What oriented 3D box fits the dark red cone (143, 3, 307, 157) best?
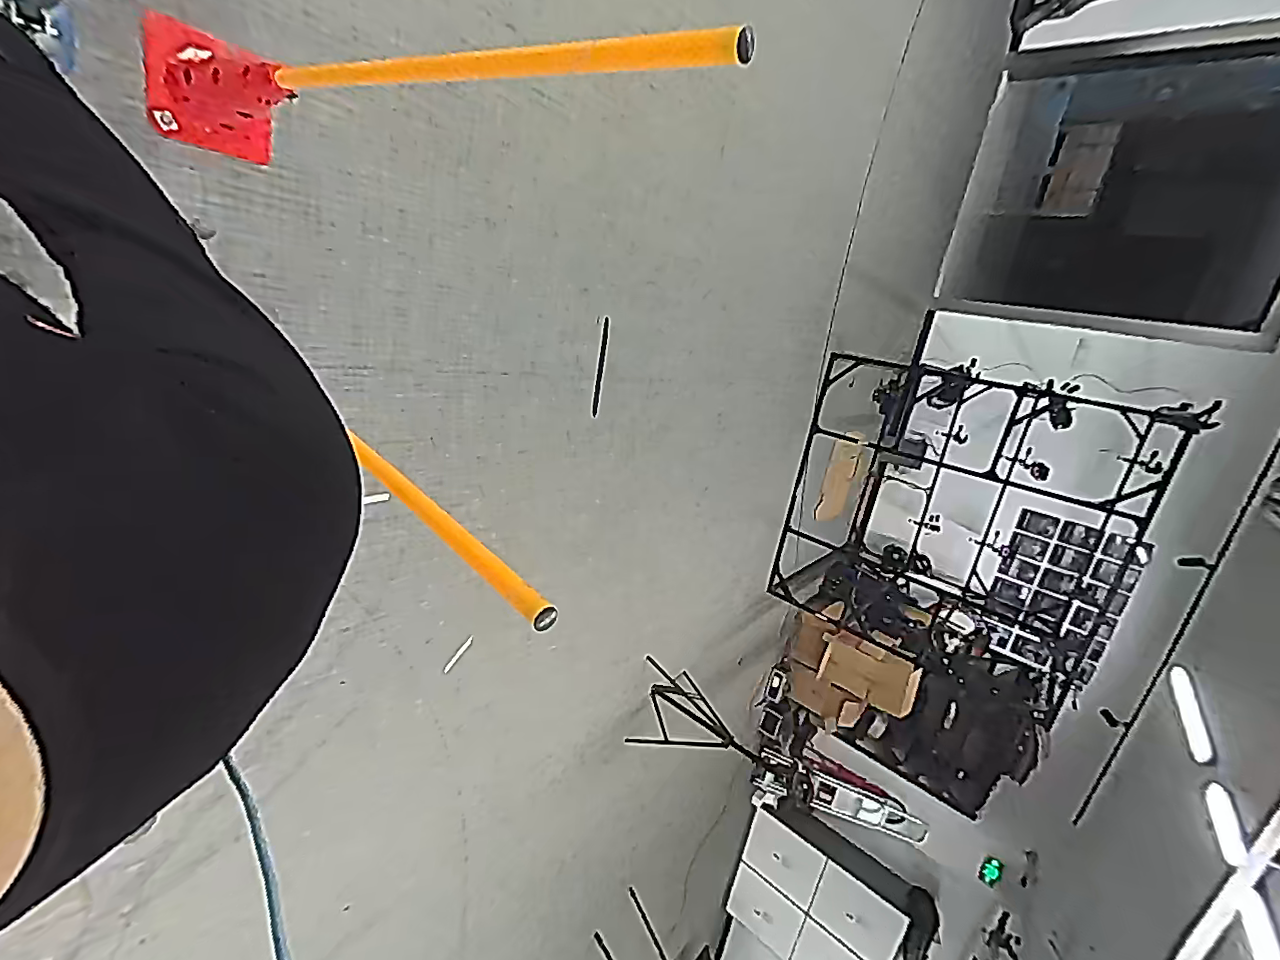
[{"bbox_3d":[-0.695,-0.711,0.954,0.201,0.394,0.202,-11,118,-52],"label":"dark red cone"}]
